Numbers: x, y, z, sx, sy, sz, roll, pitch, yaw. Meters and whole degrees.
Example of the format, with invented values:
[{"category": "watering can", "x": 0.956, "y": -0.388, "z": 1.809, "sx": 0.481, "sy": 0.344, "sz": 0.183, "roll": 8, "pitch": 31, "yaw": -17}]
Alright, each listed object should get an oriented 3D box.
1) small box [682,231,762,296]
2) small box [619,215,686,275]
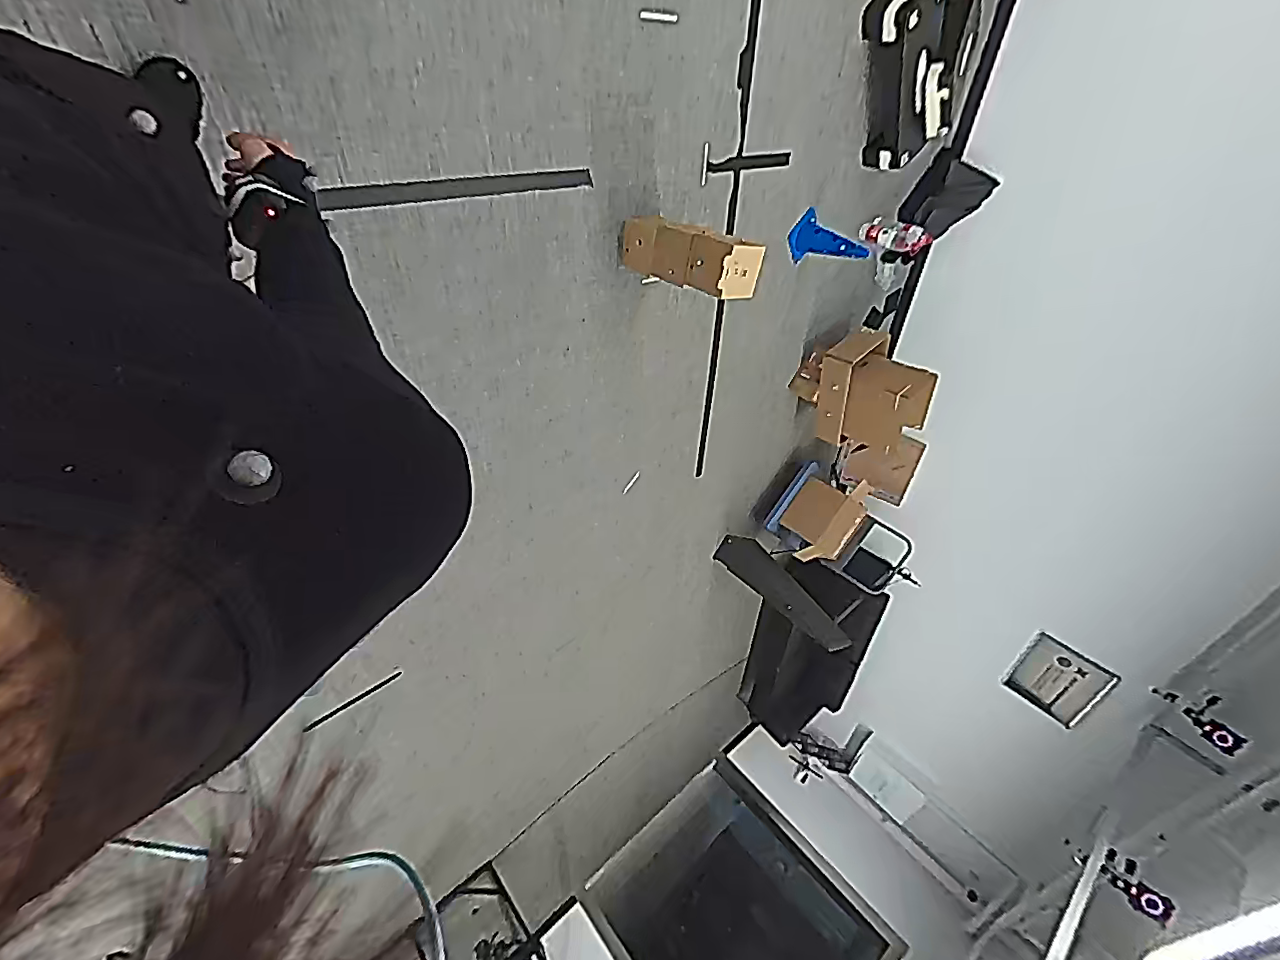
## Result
[{"category": "small box", "x": 0.268, "y": -0.717, "z": 1.788, "sx": 0.179, "sy": 0.176, "sz": 0.168, "roll": -18, "pitch": 132, "yaw": -39}, {"category": "small box", "x": 0.041, "y": -0.864, "z": 1.978, "sx": 0.179, "sy": 0.176, "sz": 0.168, "roll": -24, "pitch": 136, "yaw": -35}]
